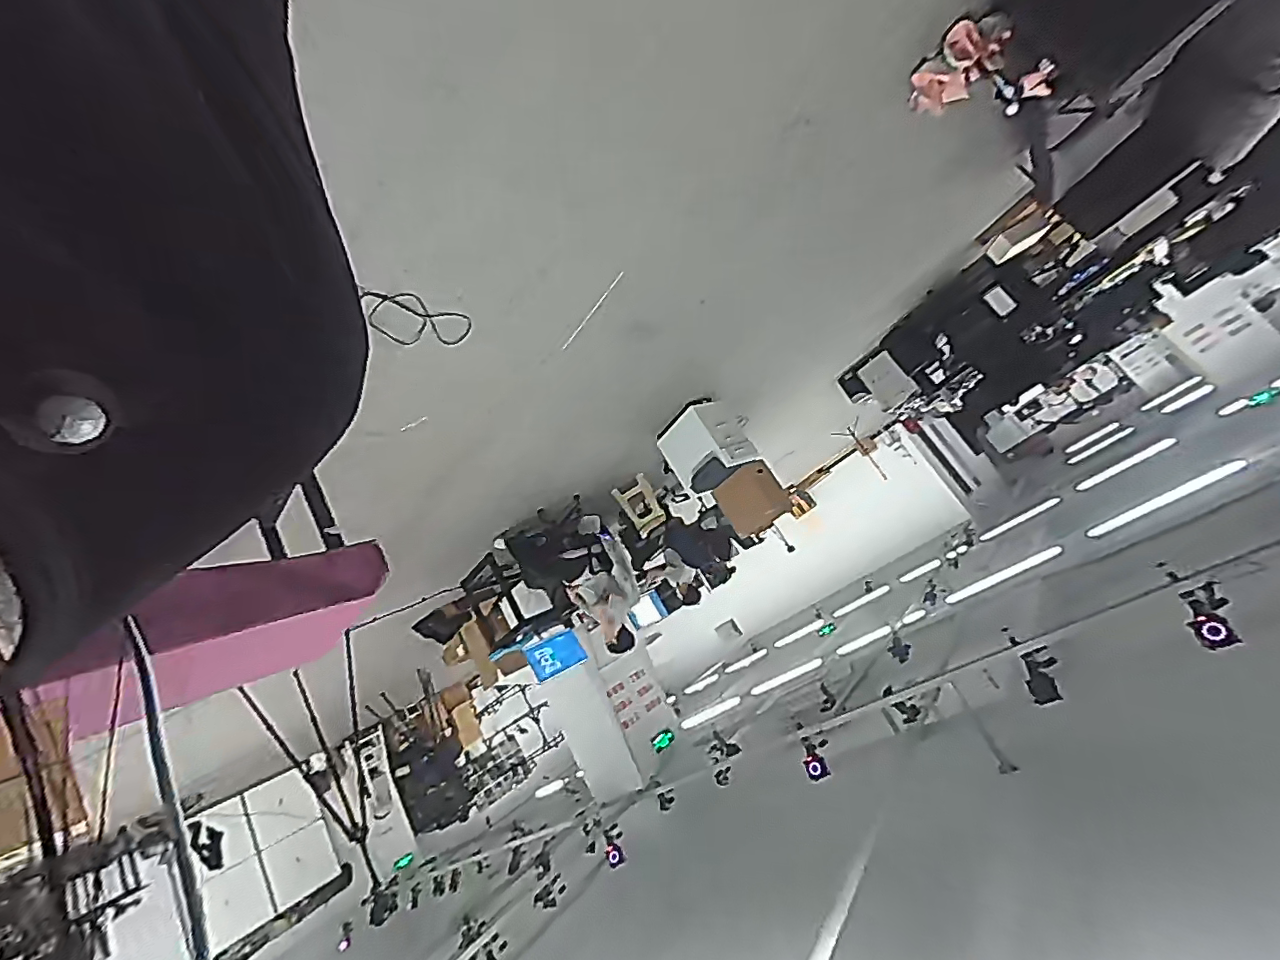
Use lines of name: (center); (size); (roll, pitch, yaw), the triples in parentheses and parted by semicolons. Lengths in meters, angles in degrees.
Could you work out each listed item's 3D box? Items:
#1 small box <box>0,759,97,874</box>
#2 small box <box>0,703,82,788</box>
small box: (-1.527, 0.851, 1.376); (0.168, 0.176, 0.179); (-42, 162, 34)
small box: (-1.613, 0.718, 1.422); (0.179, 0.176, 0.168); (-13, 155, -51)
